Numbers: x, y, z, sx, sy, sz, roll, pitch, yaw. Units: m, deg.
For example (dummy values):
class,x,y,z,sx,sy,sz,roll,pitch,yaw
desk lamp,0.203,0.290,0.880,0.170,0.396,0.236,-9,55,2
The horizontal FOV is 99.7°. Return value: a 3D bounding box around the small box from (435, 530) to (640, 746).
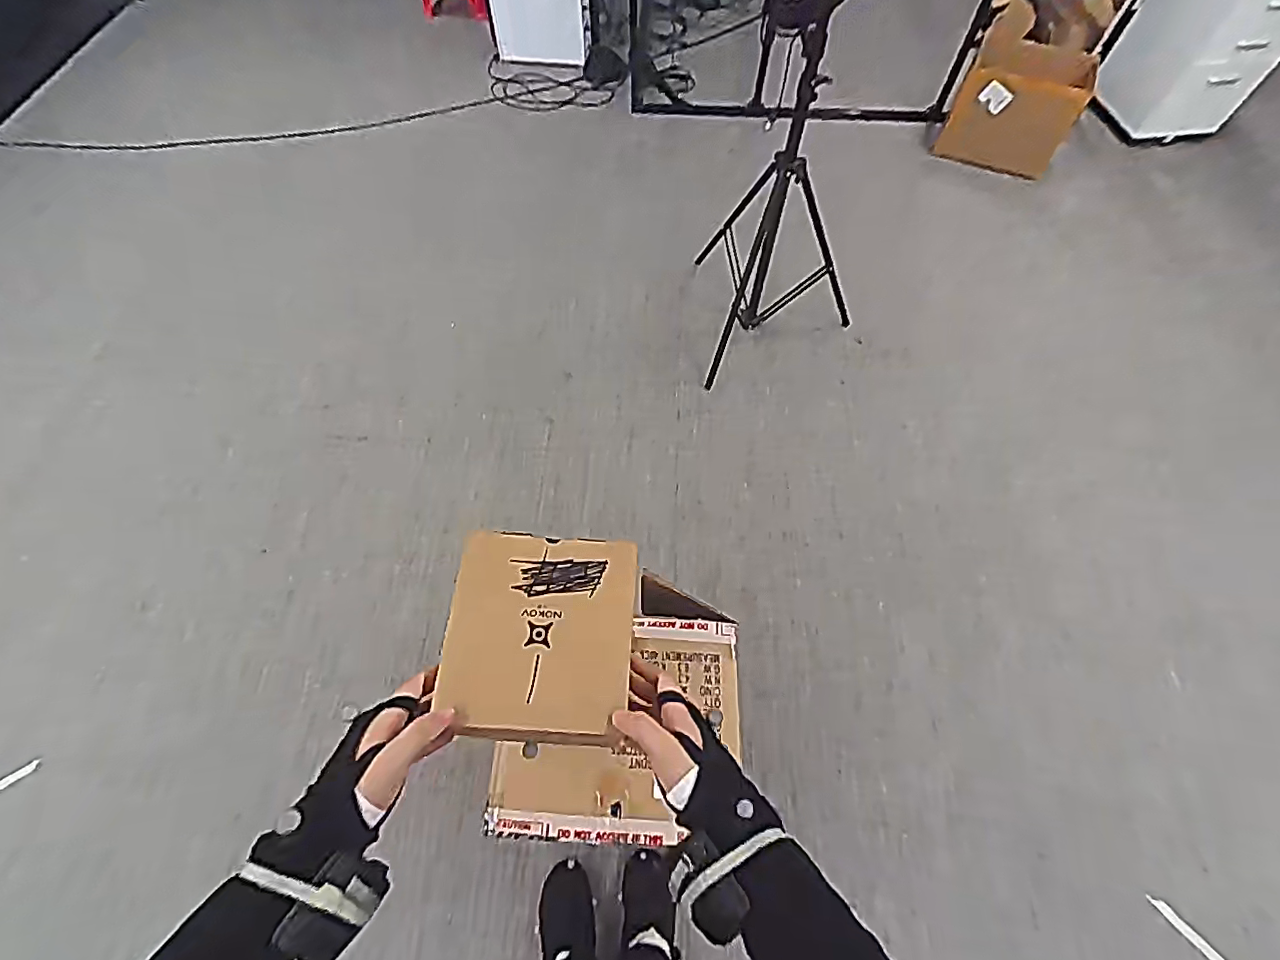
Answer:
class,x,y,z,sx,sy,sz,roll,pitch,yaw
small box,-0.094,0.170,0.563,0.168,0.176,0.179,5,61,-3
